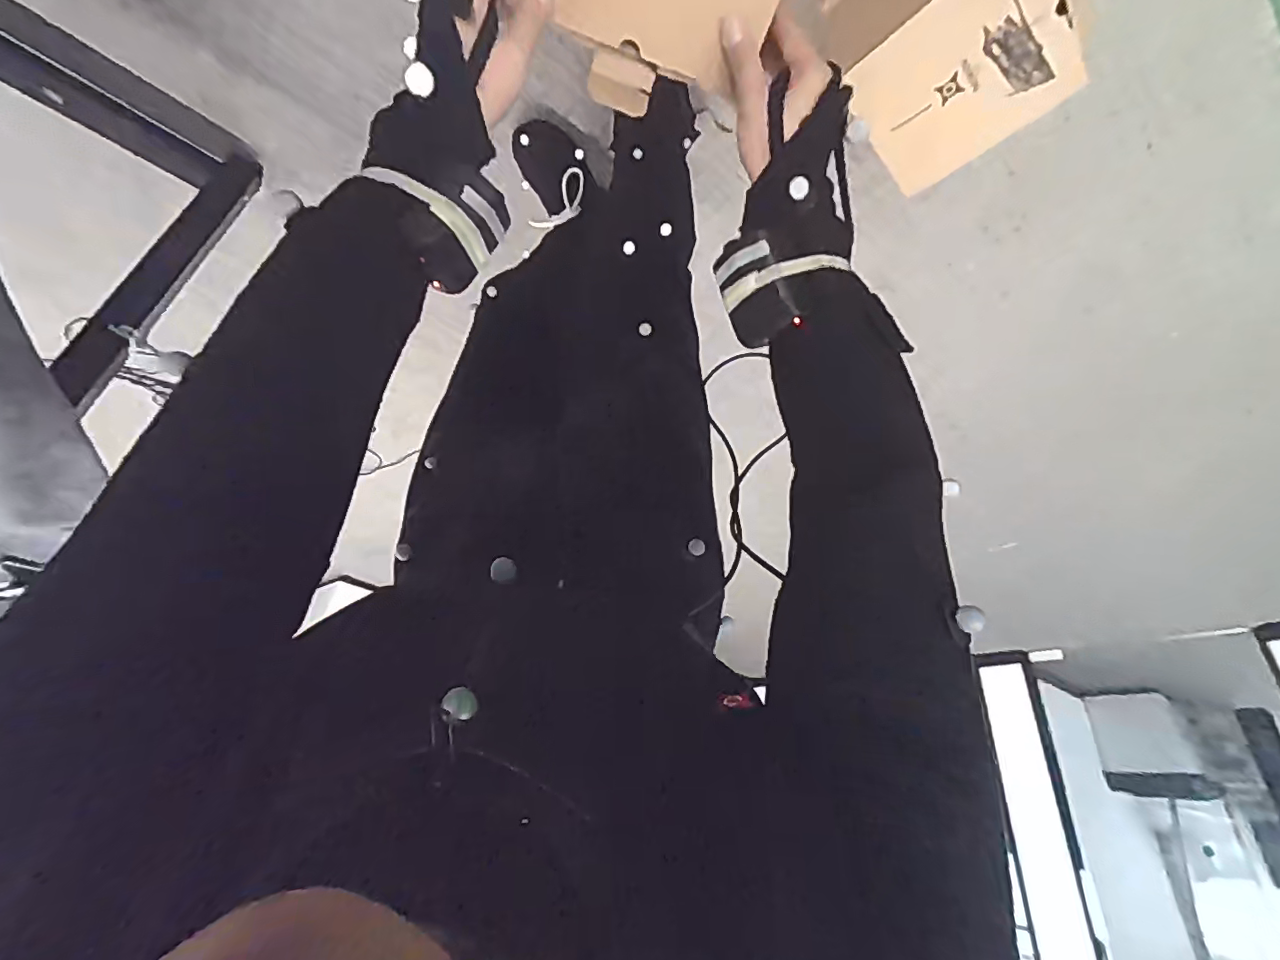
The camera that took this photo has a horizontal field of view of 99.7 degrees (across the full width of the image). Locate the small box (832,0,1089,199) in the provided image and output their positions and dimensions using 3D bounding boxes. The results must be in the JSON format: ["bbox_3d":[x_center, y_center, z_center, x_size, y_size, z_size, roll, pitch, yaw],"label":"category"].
[{"bbox_3d":[0.321,-0.453,0.567,0.168,0.176,0.179,31,142,-33],"label":"small box"}]
